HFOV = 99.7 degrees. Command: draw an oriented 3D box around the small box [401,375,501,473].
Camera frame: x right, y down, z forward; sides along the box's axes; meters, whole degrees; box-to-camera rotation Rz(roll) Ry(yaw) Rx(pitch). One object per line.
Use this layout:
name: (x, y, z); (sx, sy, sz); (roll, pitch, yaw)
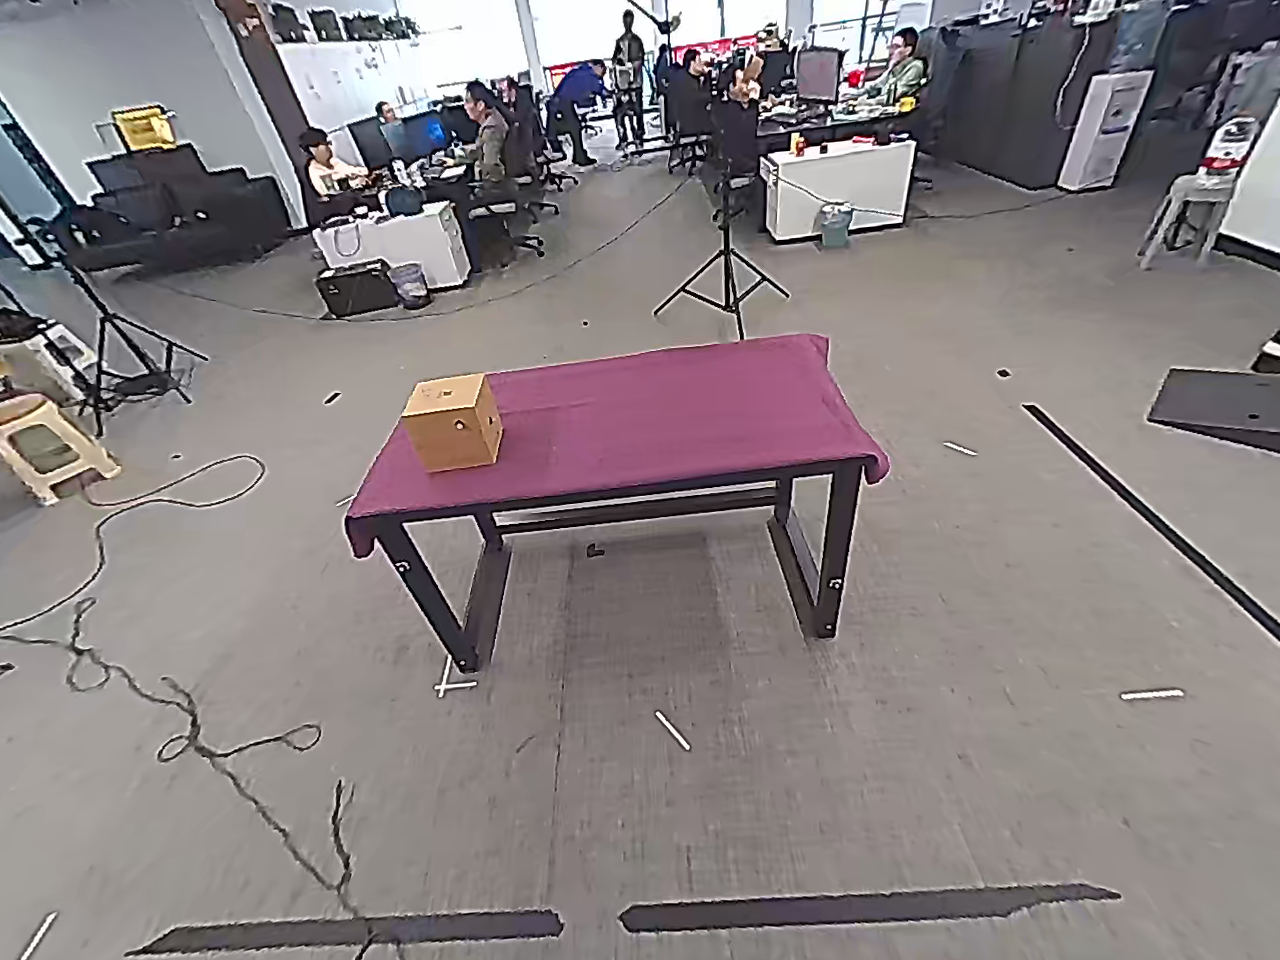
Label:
small box: (-0.456, -0.137, 1.340); (0.179, 0.176, 0.168); (-8, 38, 1)
